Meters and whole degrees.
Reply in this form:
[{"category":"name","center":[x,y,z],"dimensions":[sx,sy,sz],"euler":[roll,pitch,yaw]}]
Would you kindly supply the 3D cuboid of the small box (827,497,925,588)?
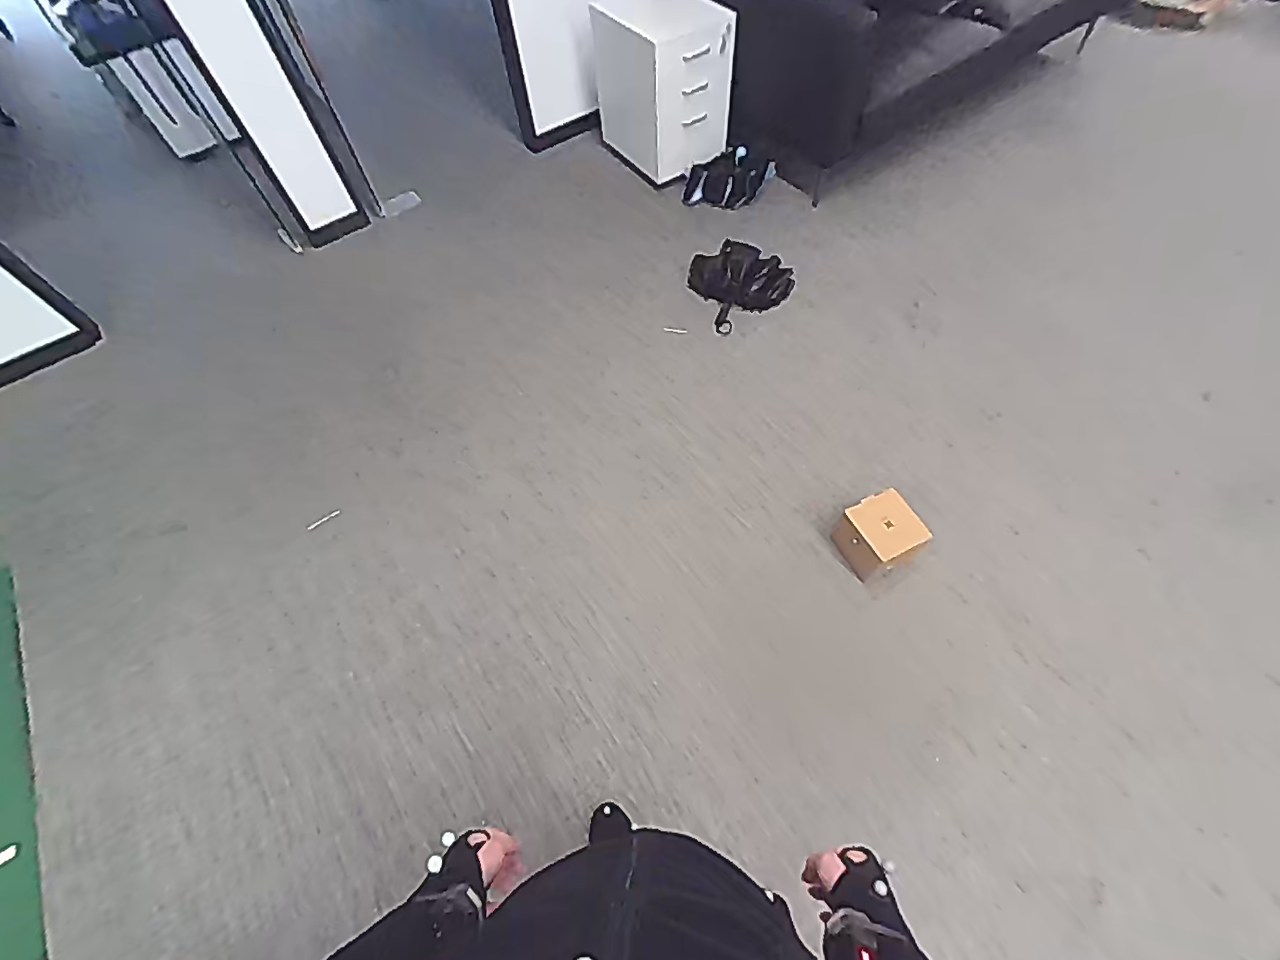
[{"category":"small box","center":[0.669,0.183,1.560],"dimensions":[0.168,0.176,0.179],"euler":[-24,61,-10]}]
